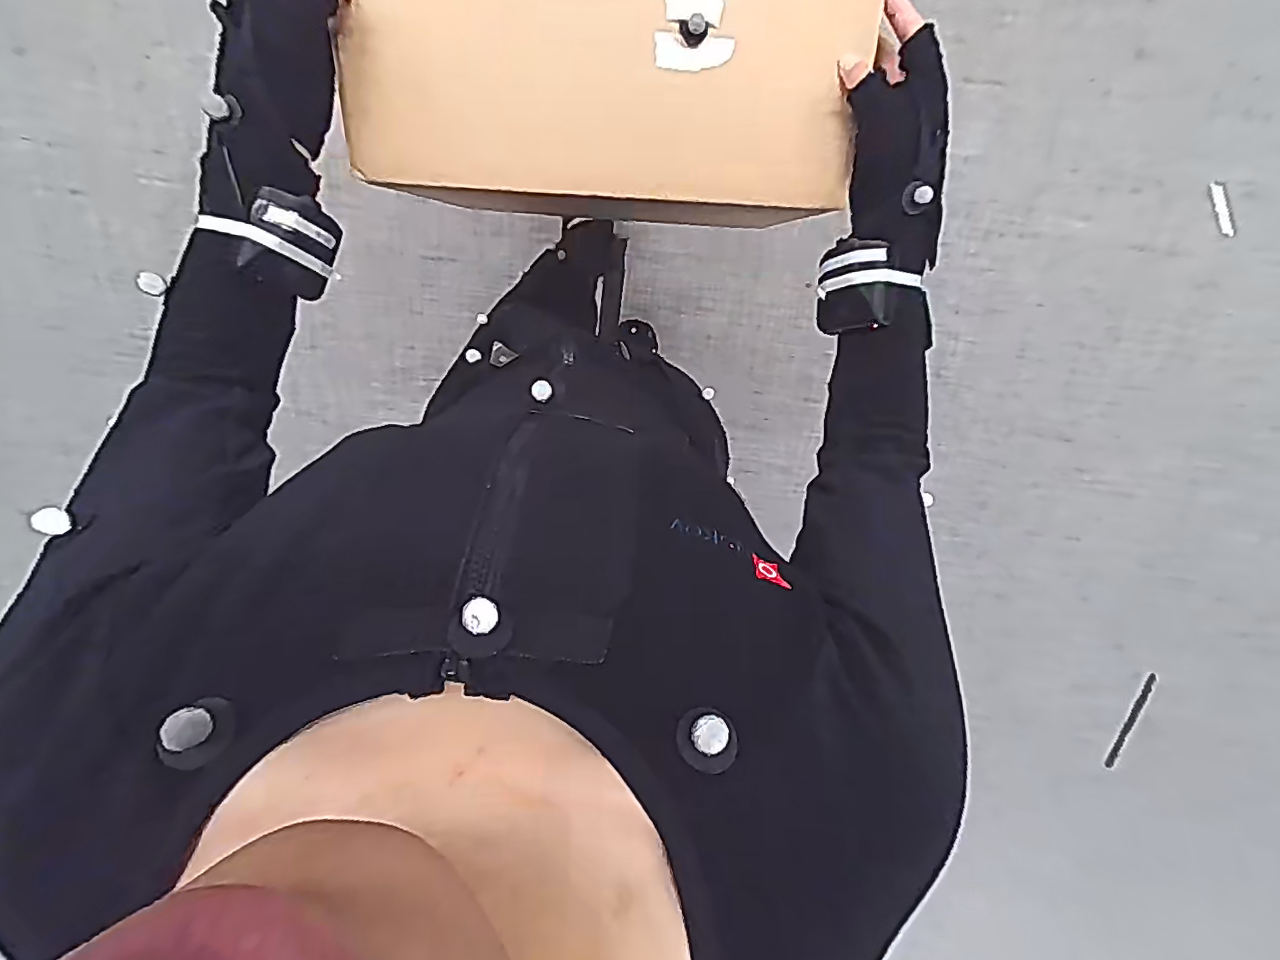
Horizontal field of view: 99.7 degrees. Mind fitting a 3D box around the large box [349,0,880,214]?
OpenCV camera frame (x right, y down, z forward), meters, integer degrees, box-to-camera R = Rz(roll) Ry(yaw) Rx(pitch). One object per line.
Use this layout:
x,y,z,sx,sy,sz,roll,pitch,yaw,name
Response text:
-0.020,-0.447,0.527,0.408,0.320,0.320,2,113,-2,large box
